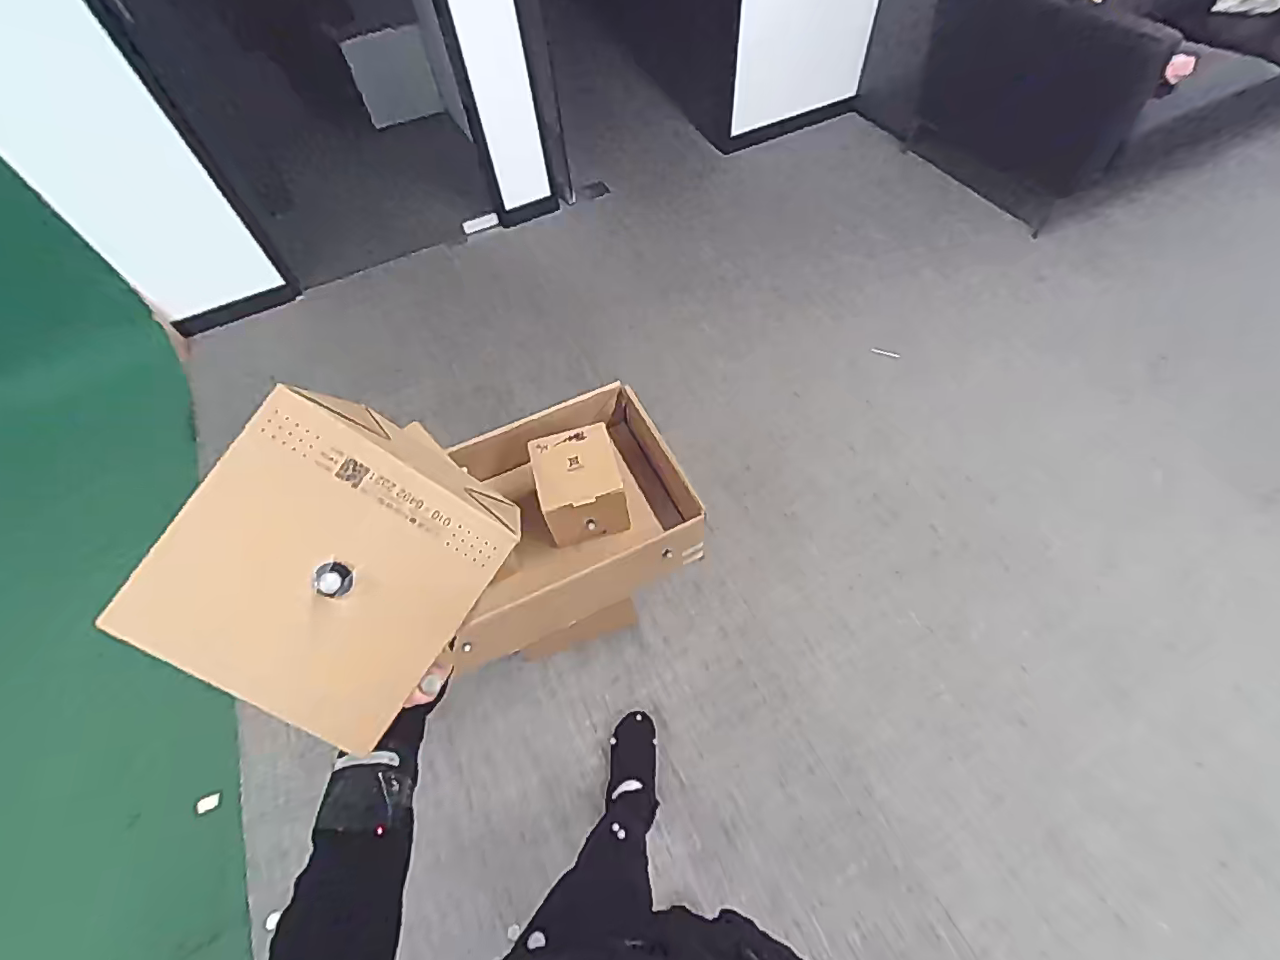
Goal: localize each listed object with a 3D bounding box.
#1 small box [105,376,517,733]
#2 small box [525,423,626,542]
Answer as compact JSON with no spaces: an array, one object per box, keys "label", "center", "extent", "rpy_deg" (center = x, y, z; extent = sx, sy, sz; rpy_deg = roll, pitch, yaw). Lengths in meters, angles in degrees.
[{"label":"small box","center":[-0.206,0.039,0.402],"extent":[0.168,0.179,0.176],"rpy_deg":[37,84,-14]},{"label":"small box","center":[-0.130,0.015,1.130],"extent":[0.168,0.176,0.179],"rpy_deg":[-14,59,-6]}]
